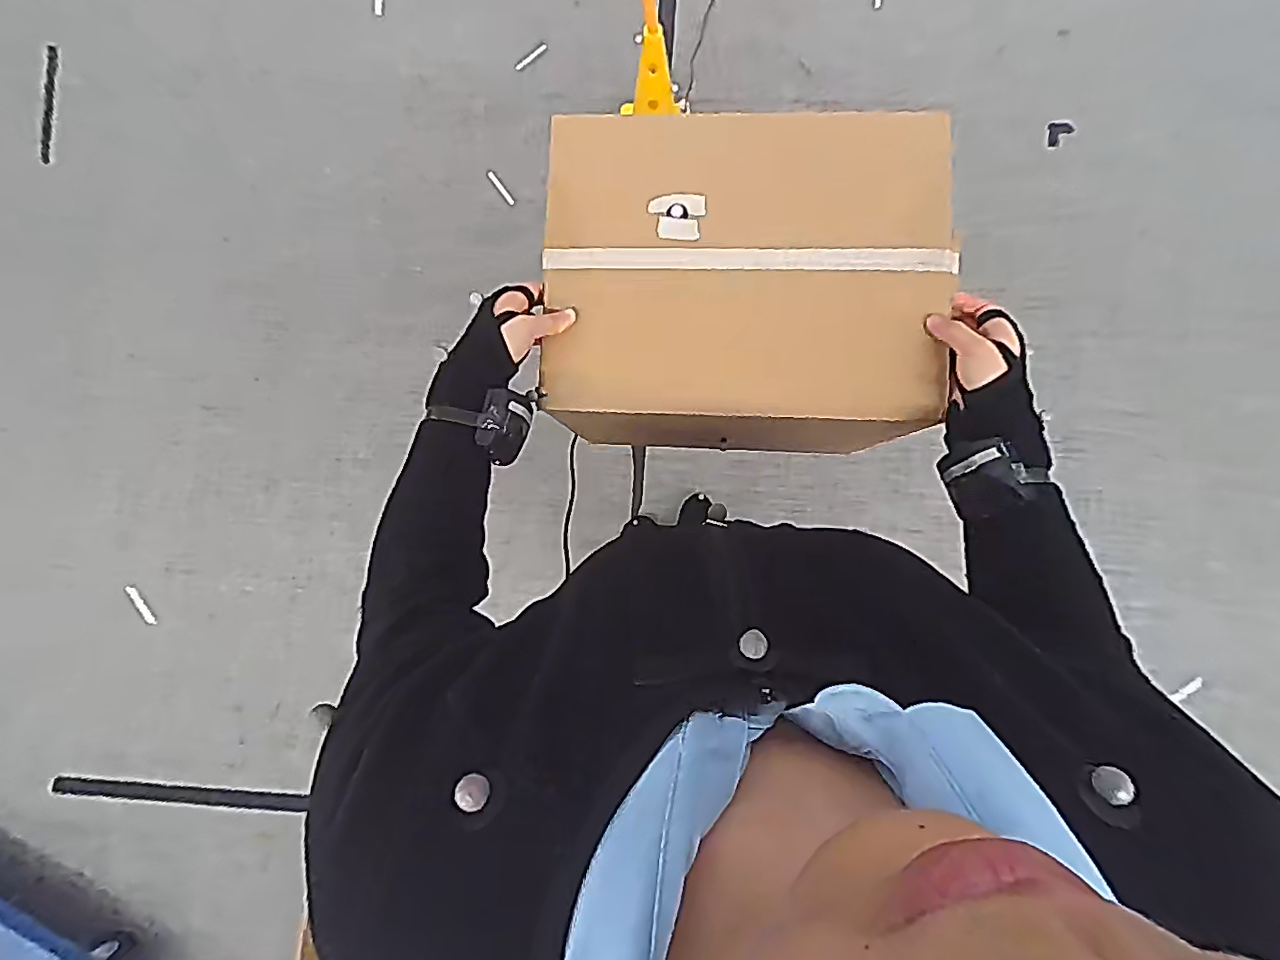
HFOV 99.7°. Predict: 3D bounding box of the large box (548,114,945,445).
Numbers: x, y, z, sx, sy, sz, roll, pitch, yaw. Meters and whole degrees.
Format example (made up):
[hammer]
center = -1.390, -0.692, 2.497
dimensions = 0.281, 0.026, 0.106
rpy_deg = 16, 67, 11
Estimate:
[large box]
center = 0.121, -0.214, 0.704
dimensions = 0.408, 0.320, 0.320
rpy_deg = 2, 86, 6
